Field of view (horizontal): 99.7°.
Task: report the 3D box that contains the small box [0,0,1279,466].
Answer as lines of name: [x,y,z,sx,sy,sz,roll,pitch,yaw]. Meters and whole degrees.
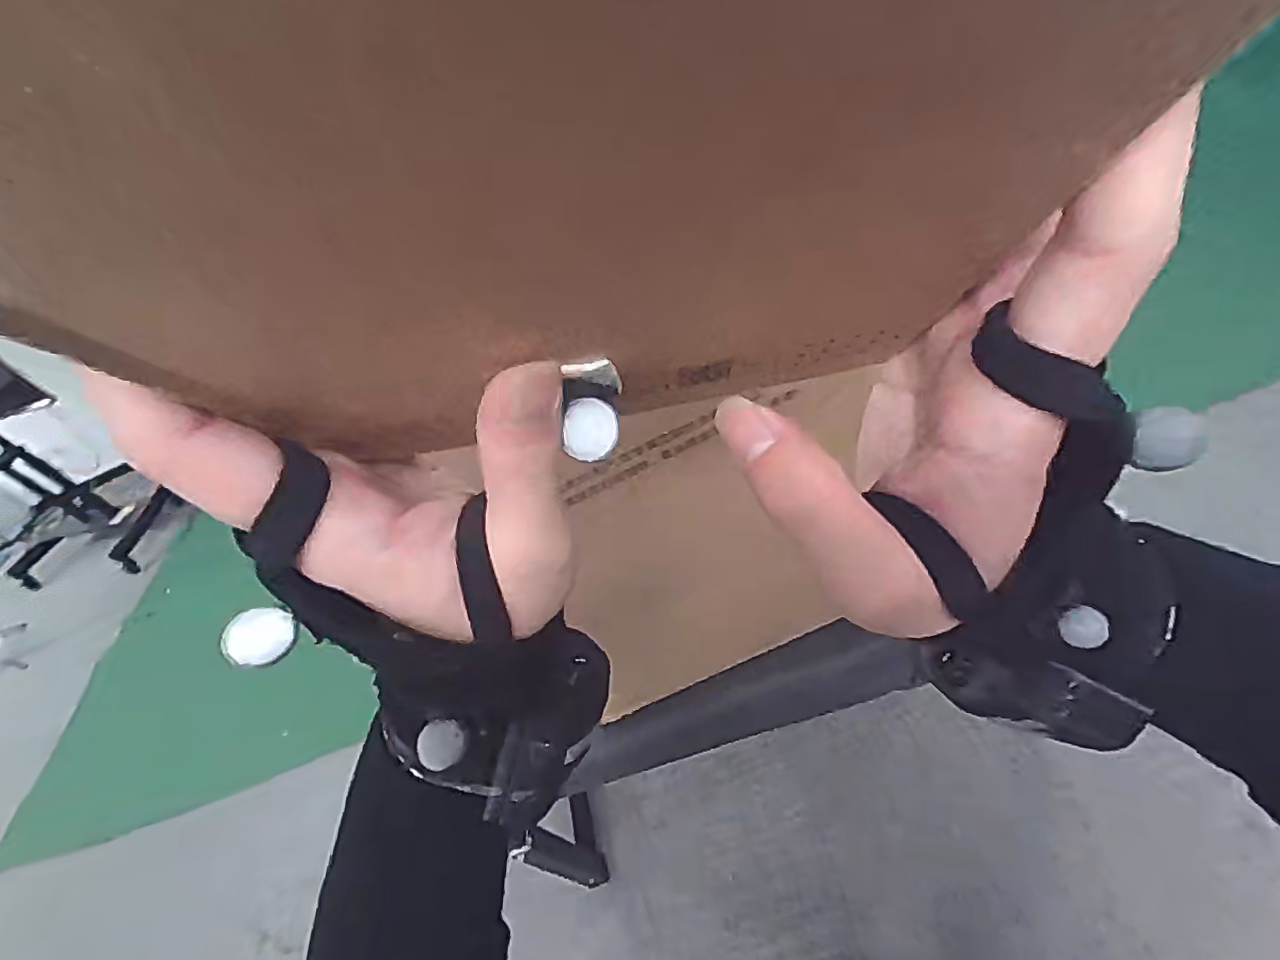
small box: [-0.018,-0.114,0.111,0.168,0.176,0.179,-12,81,1]
